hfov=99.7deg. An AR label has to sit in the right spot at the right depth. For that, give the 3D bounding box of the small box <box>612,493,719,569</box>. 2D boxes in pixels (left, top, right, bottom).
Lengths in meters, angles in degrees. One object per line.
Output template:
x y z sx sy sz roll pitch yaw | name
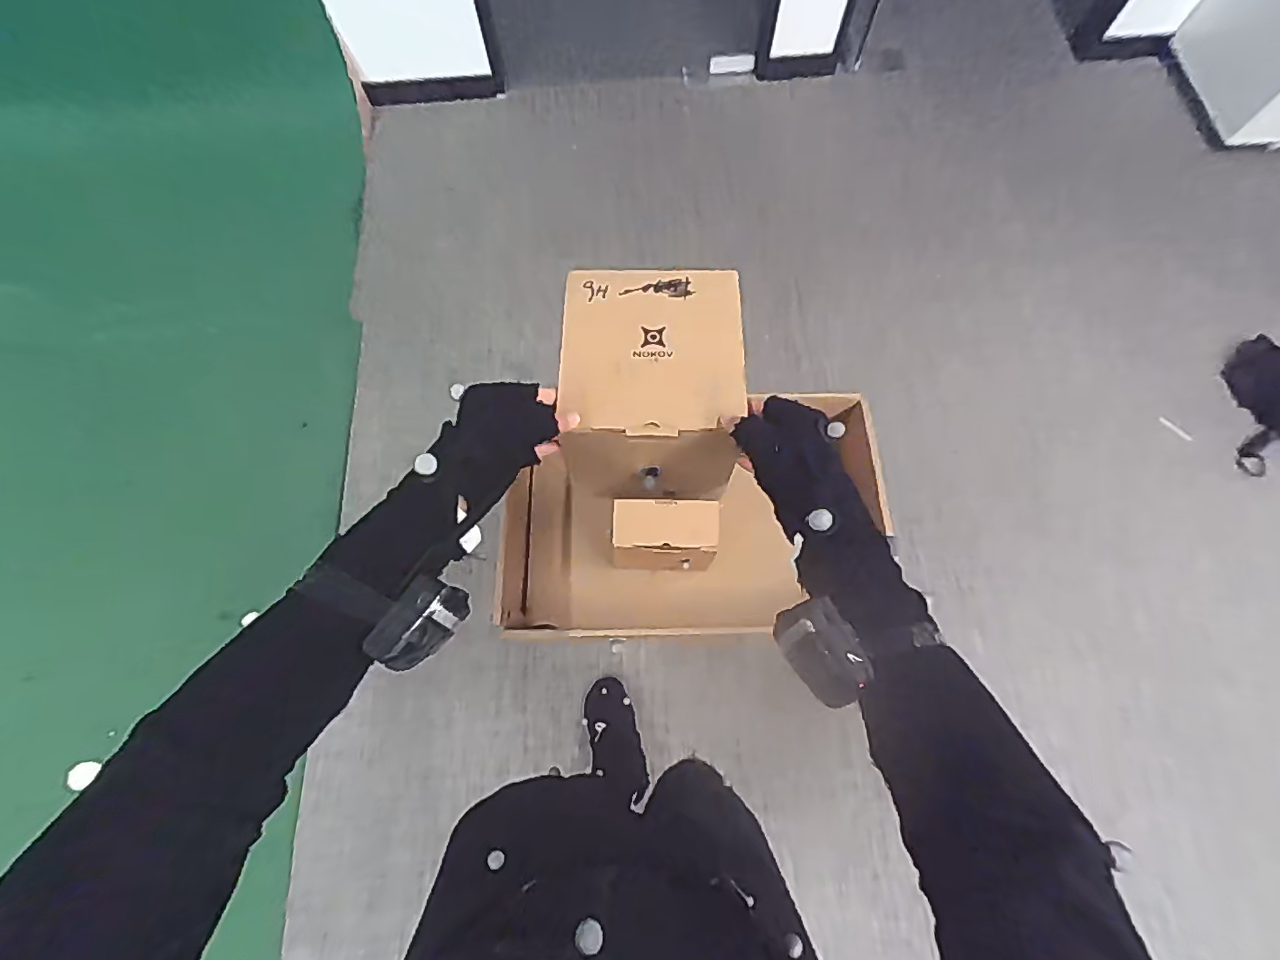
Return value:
0.040 0.051 0.917 0.168 0.176 0.179 2 68 -2 | small box

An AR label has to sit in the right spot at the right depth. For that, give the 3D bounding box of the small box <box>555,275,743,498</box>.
0.012 -0.087 0.565 0.168 0.176 0.179 1 68 1 | small box
